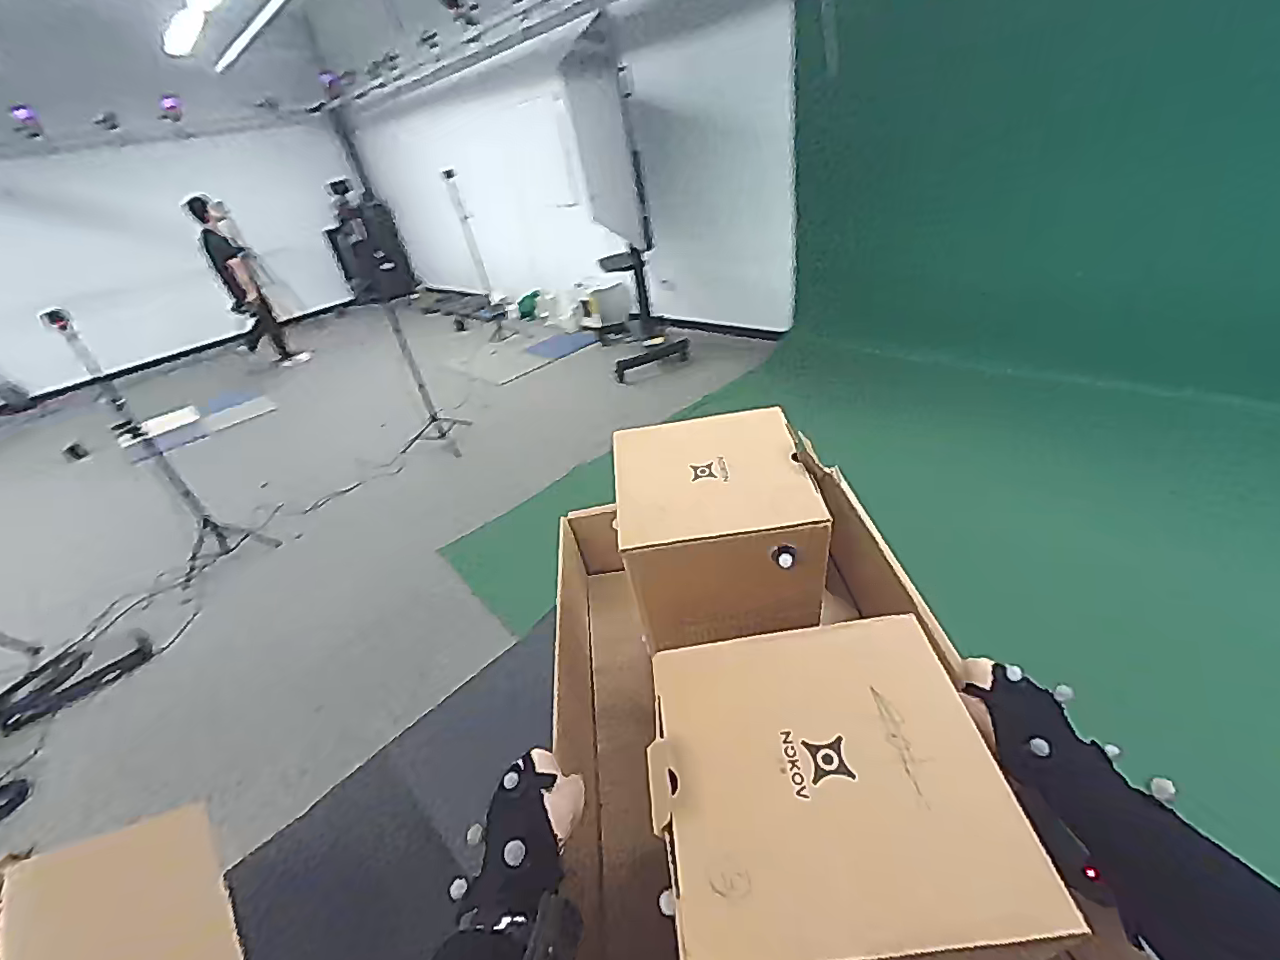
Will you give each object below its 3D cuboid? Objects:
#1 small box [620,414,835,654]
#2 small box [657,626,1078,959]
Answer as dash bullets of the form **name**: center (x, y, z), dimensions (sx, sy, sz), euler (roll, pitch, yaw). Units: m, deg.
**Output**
- **small box**: center (0.080, 0.058, 0.546), dimensions (0.179, 0.176, 0.168), euler (-8, 42, 3)
- **small box**: center (0.113, 0.221, 0.347), dimensions (0.179, 0.176, 0.168), euler (-9, 40, 3)
